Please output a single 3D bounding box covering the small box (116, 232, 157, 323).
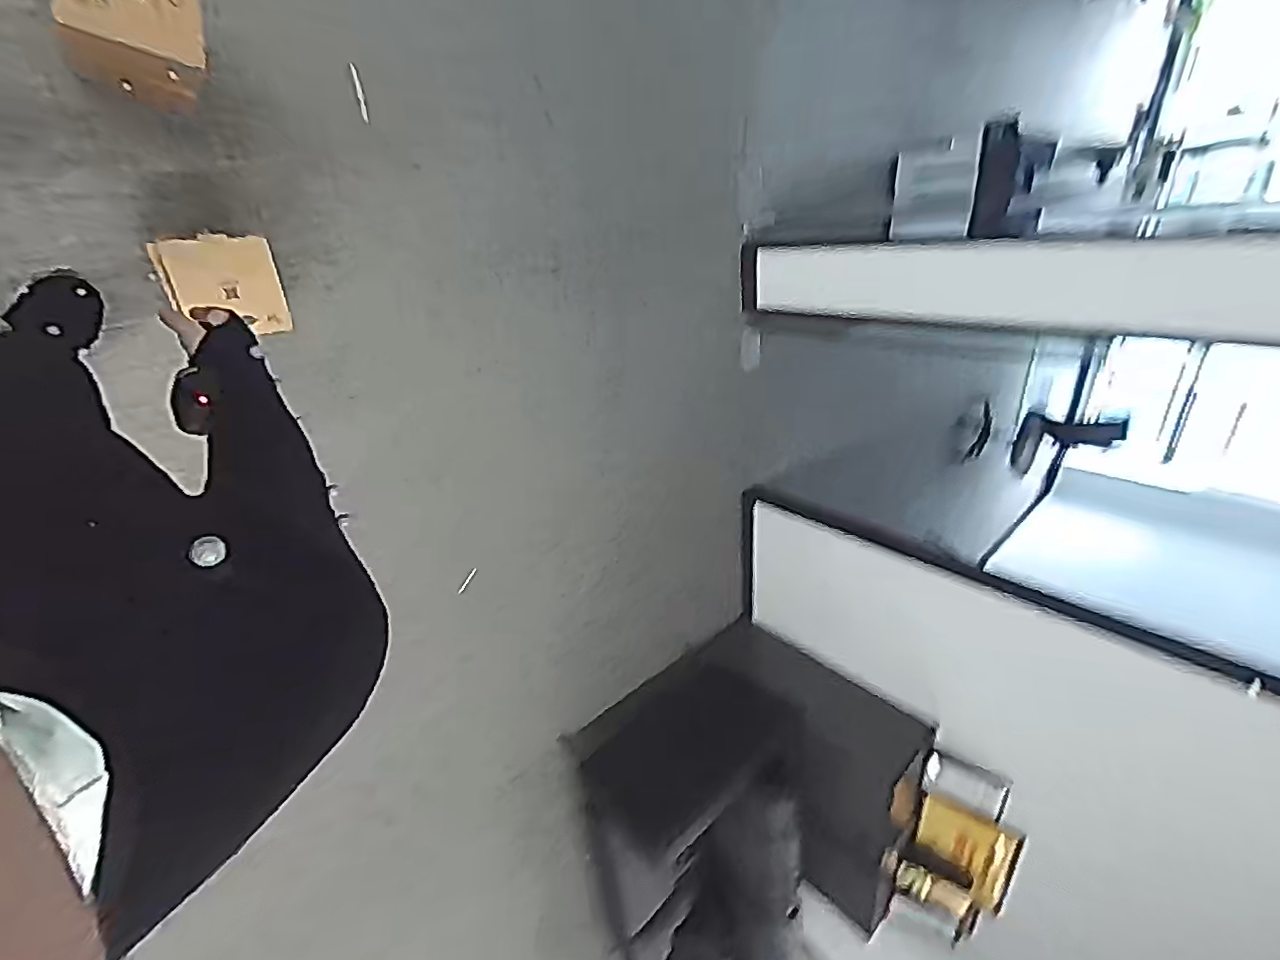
[{"bbox_3d":[-0.945,-0.427,1.128,0.179,0.176,0.168,-23,122,-37],"label":"small box"}]

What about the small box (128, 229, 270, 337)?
[{"bbox_3d":[-0.832,-0.374,1.020,0.168,0.176,0.179,-20,120,-37],"label":"small box"}]

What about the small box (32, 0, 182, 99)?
[{"bbox_3d":[-0.940,-0.814,0.960,0.179,0.176,0.168,2,106,-45],"label":"small box"}]
